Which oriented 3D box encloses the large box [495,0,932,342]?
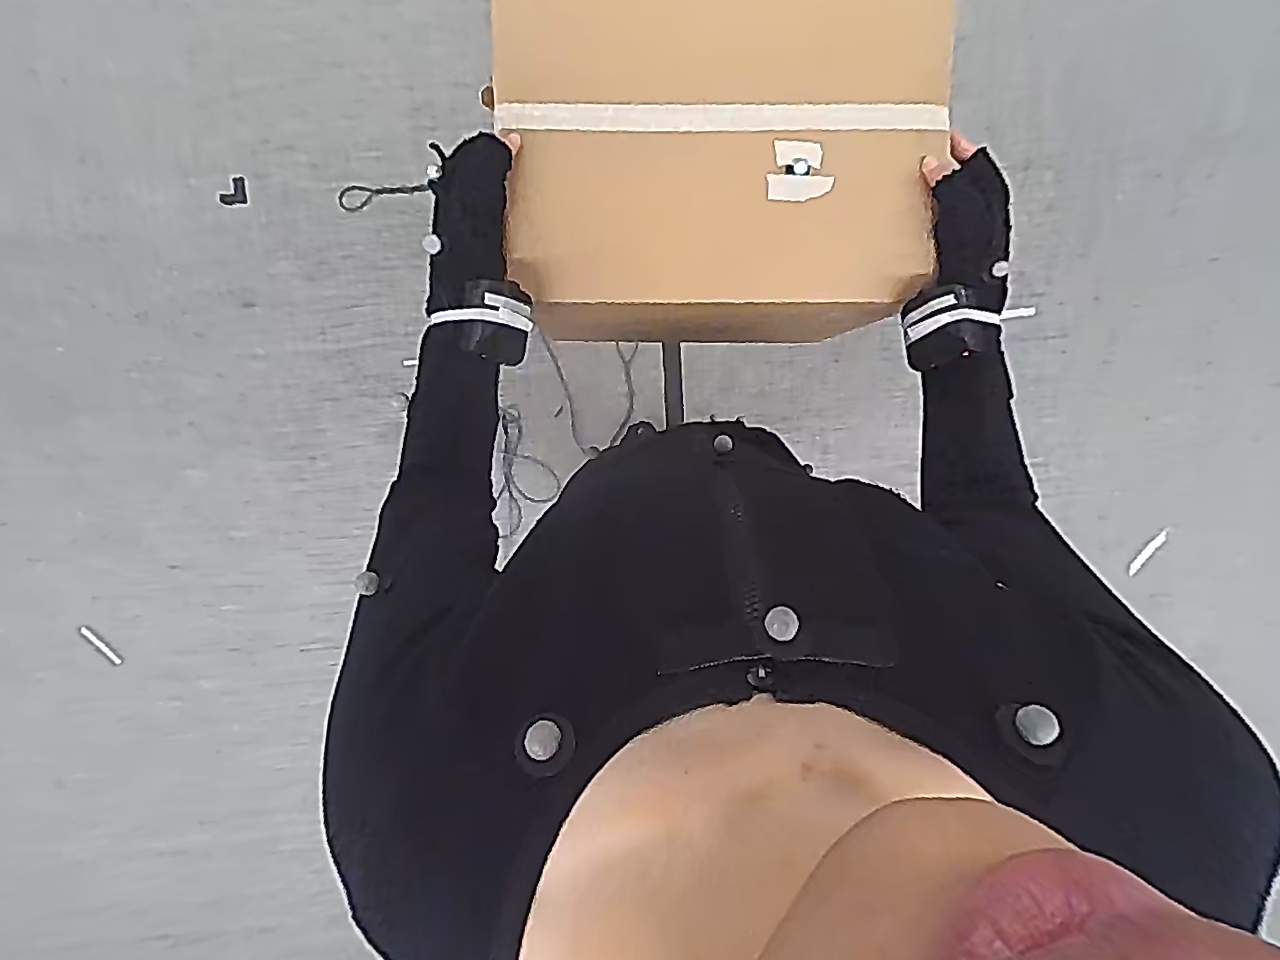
[{"bbox_3d":[0.065,-0.348,0.650,0.408,0.320,0.320,-1,98,-2],"label":"large box"}]
